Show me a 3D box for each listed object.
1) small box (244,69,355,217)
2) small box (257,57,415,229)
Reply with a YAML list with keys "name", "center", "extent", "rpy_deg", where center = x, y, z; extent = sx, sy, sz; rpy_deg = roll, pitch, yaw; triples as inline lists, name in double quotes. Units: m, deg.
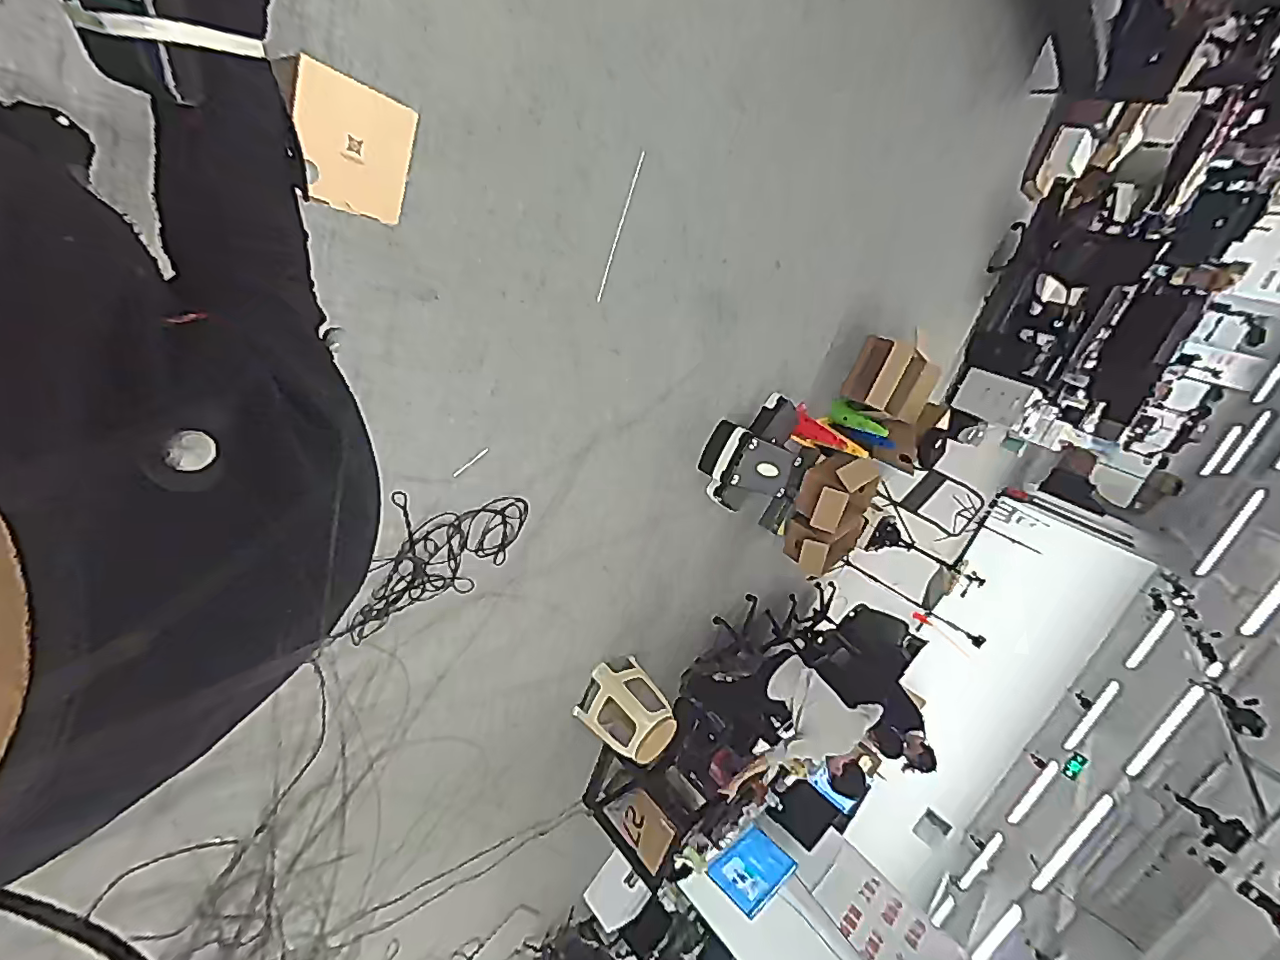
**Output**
- name: "small box"
  center: [-0.585, -0.591, 0.962]
  extent: [0.168, 0.176, 0.179]
  rpy_deg: [-4, 118, -47]
- name: "small box"
  center: [-0.483, -0.524, 0.853]
  extent: [0.168, 0.176, 0.179]
  rpy_deg: [0, 117, -48]
